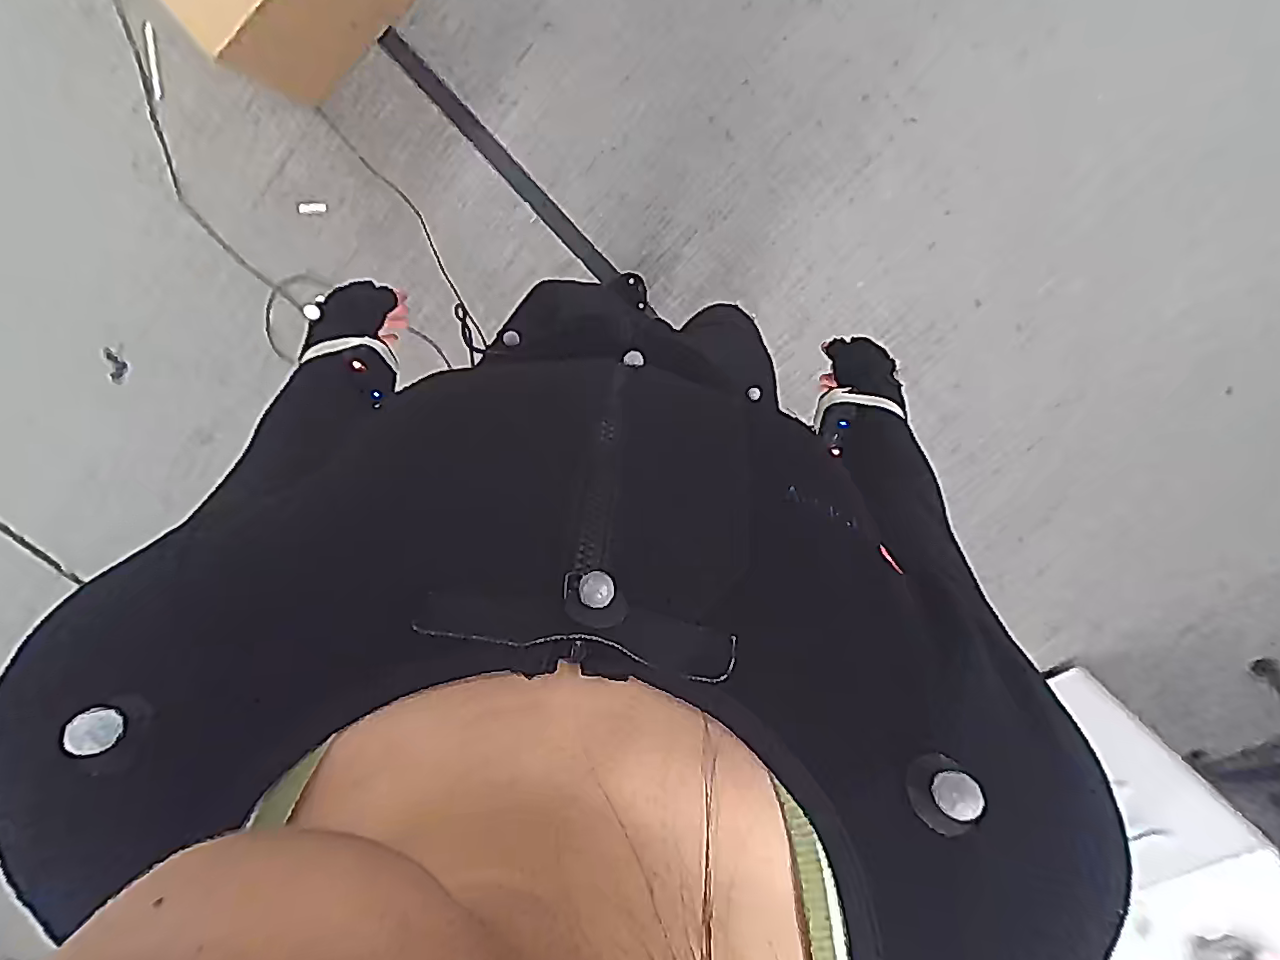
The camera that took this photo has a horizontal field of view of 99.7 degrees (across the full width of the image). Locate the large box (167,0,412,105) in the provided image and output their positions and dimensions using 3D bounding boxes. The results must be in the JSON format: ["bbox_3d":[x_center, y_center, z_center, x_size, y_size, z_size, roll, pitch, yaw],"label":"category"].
[{"bbox_3d":[-0.677,-1.020,1.009,0.408,0.320,0.320,-35,106,14],"label":"large box"}]
